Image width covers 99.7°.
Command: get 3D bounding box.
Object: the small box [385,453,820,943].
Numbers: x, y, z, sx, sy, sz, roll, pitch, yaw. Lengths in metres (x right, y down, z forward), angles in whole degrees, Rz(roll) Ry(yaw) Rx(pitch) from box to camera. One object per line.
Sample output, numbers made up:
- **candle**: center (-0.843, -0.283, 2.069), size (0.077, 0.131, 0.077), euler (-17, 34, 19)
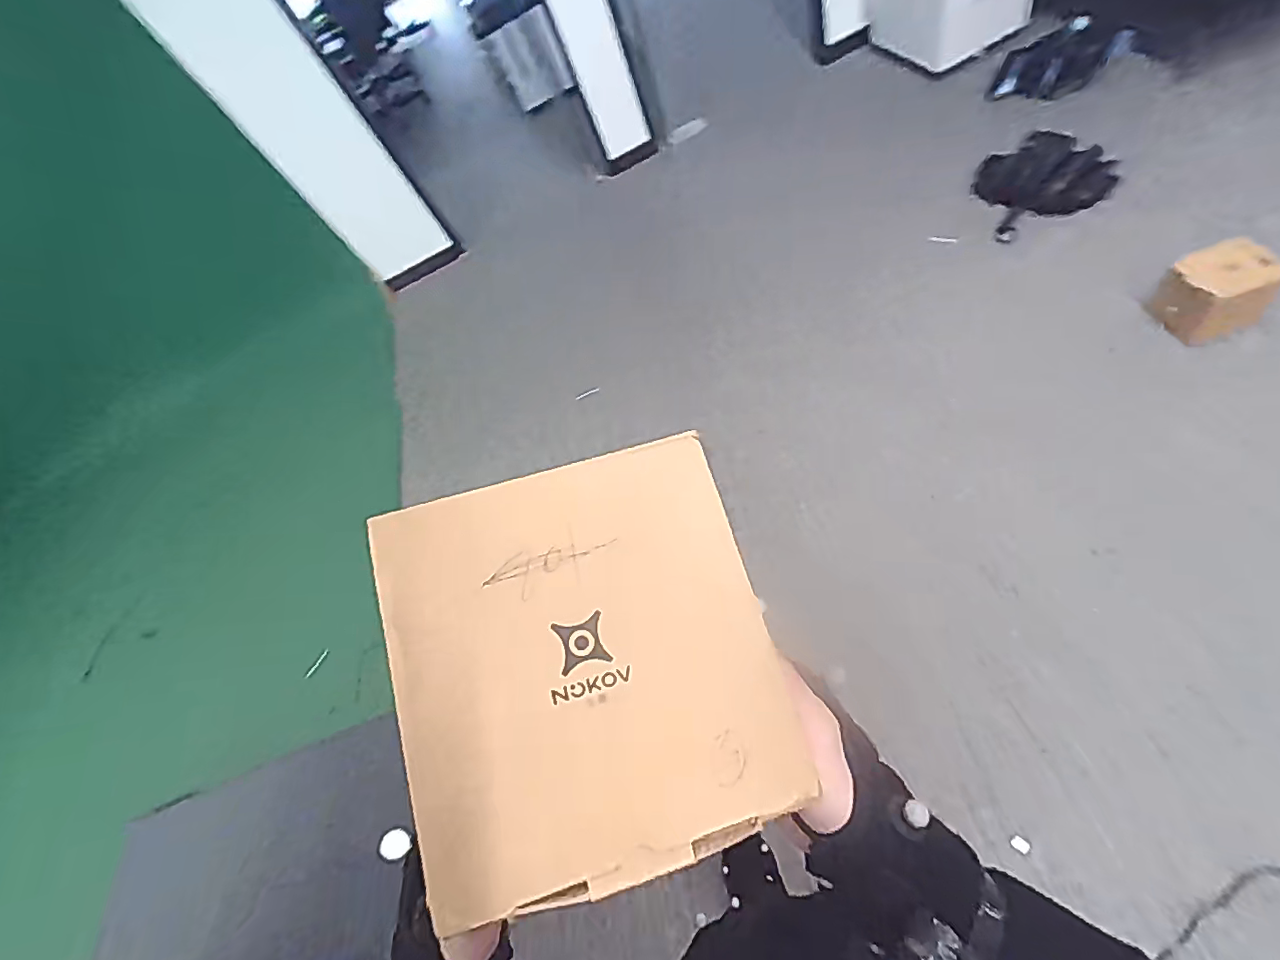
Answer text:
- **small box**: center (-0.025, 0.108, 0.321), size (0.168, 0.176, 0.179), euler (-15, 72, -8)
